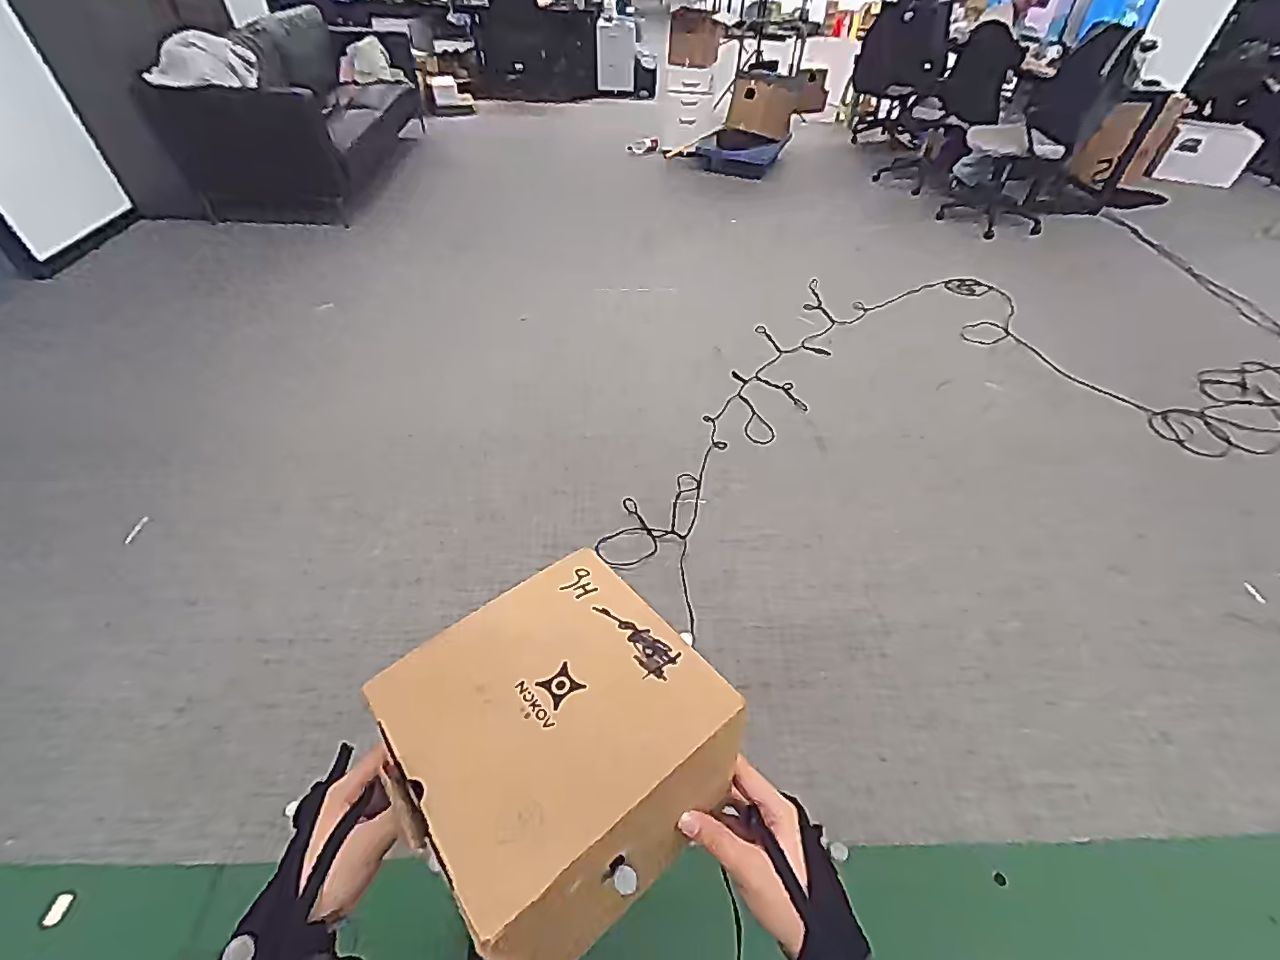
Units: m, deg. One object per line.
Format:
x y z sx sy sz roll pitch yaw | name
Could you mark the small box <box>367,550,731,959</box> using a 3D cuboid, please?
-0.053 0.191 0.386 0.179 0.176 0.168 -31 48 -27 | small box
